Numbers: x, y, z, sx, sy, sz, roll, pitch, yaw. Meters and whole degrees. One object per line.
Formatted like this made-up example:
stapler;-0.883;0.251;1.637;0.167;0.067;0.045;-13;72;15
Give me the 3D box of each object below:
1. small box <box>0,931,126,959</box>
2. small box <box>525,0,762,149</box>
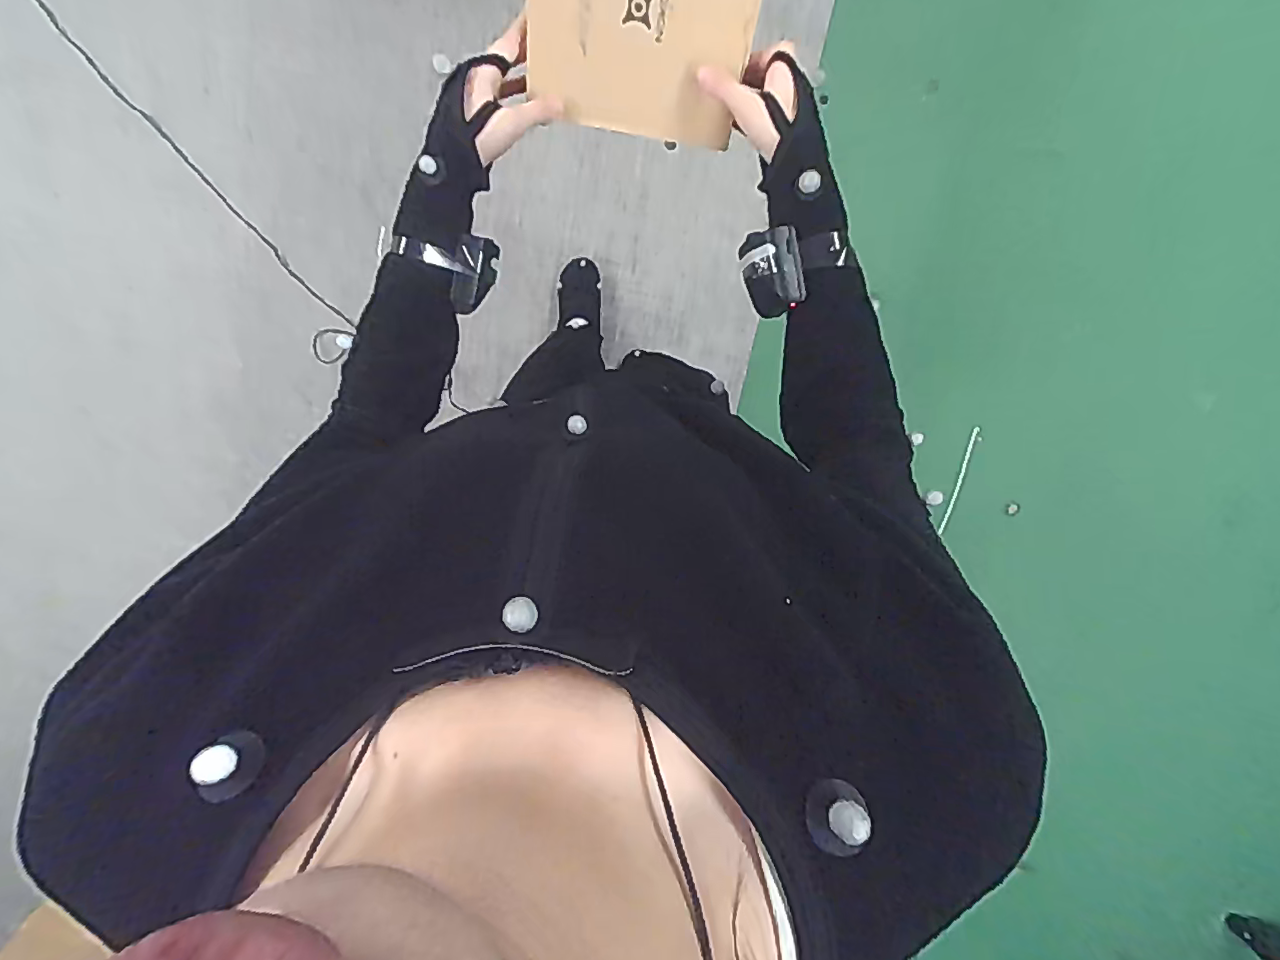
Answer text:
small box;-1.004;0.886;0.877;0.179;0.176;0.168;15;102;-4
small box;0.002;-0.408;0.468;0.179;0.176;0.168;7;128;-6
